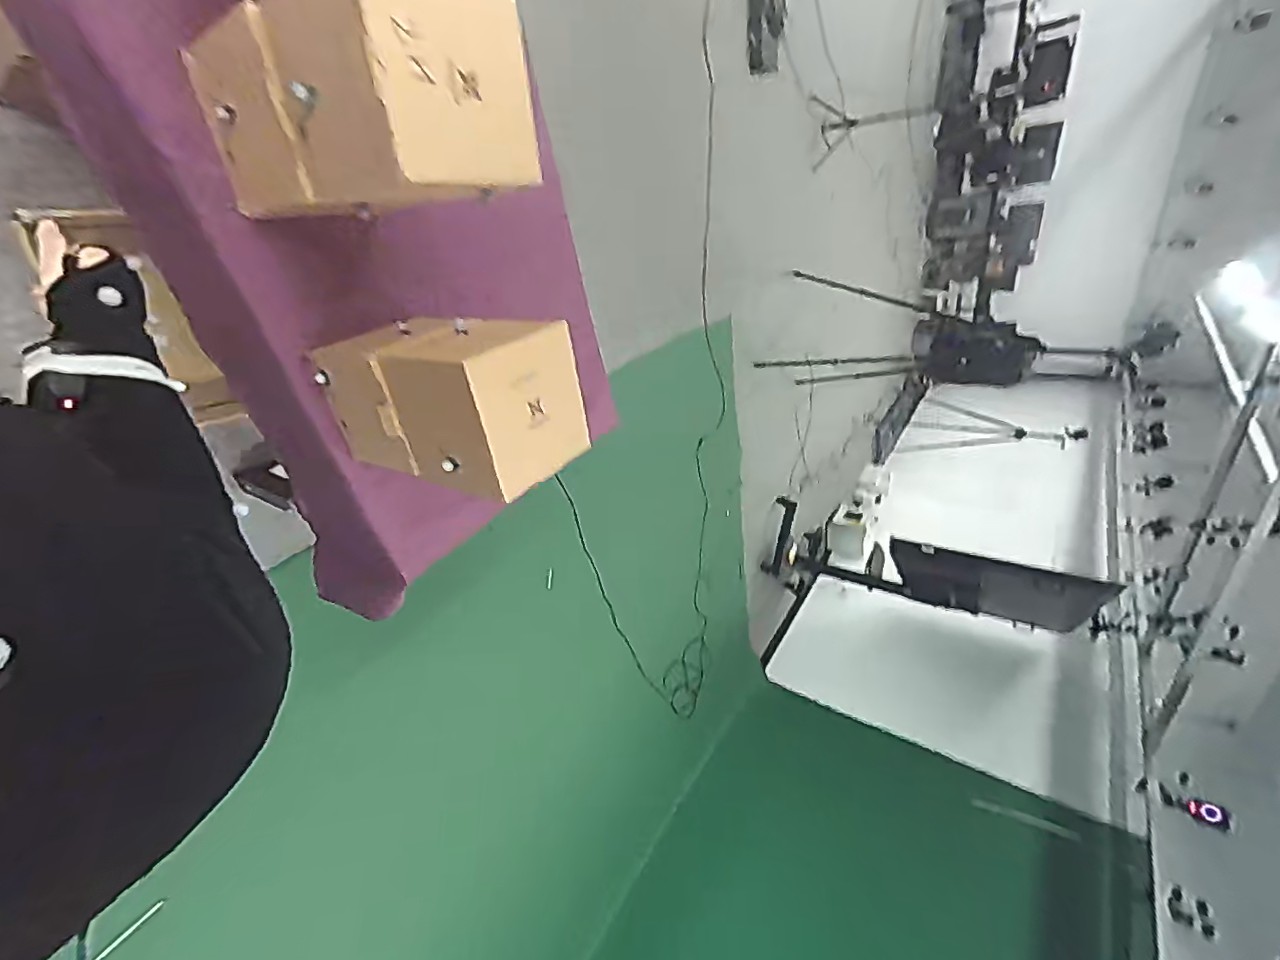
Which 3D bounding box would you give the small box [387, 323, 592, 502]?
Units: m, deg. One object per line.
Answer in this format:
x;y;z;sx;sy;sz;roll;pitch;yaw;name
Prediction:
-0.189;-0.097;0.701;0.168;0.176;0.179;-39;130;-43;small box

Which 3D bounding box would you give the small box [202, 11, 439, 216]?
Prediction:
-0.363;-0.412;0.640;0.179;0.176;0.168;-33;127;-44;small box

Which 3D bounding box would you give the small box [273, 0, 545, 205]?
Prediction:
-0.226;-0.383;0.552;0.179;0.176;0.168;-32;125;-45;small box

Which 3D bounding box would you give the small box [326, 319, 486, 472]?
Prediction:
-0.322;-0.131;0.789;0.179;0.176;0.168;-40;131;-43;small box
